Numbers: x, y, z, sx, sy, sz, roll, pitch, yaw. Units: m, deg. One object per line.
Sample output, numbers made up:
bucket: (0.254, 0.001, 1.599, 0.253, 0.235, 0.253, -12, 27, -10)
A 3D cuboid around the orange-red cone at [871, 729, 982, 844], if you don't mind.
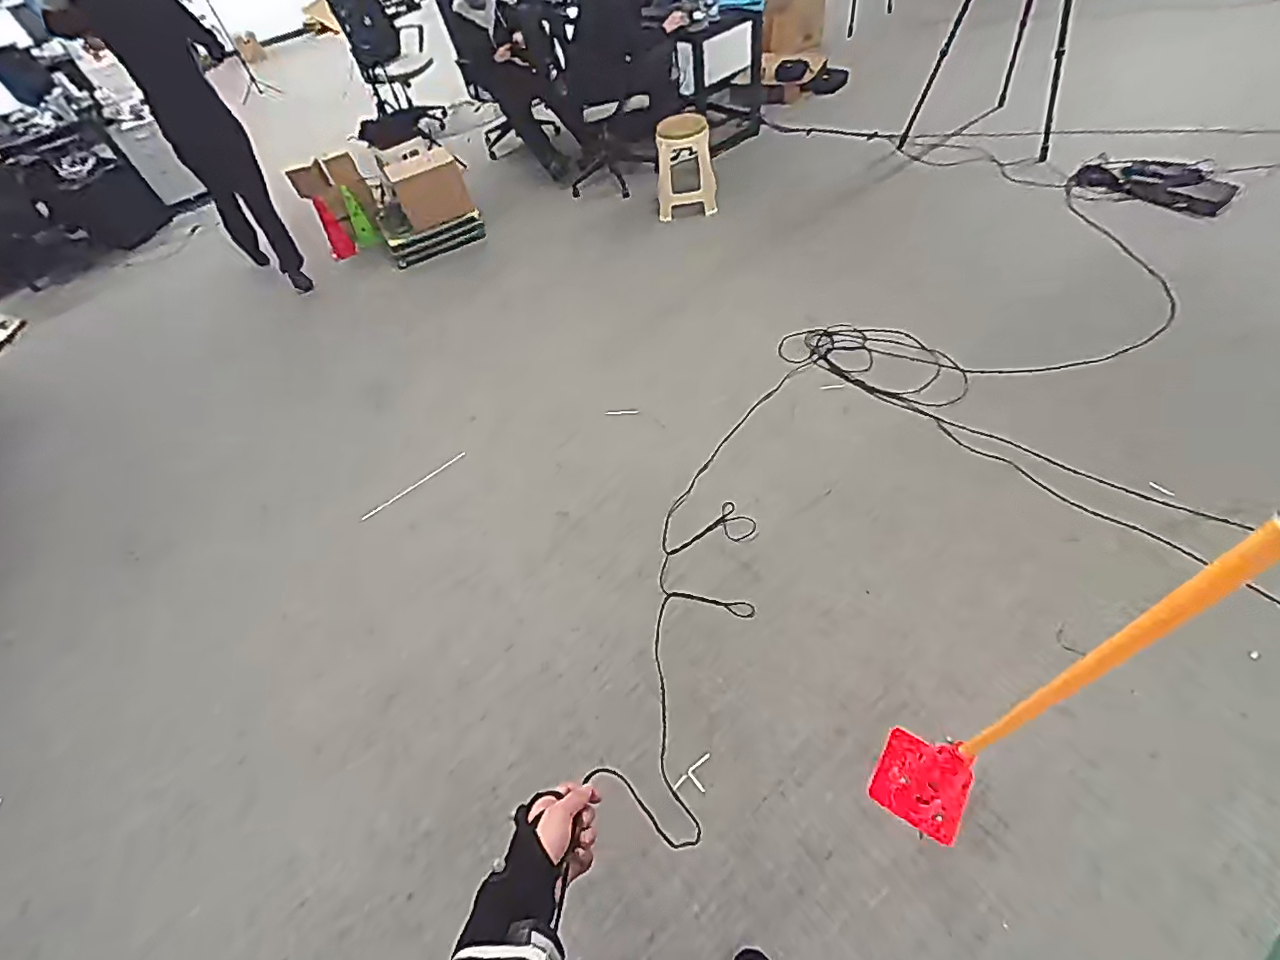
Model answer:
orange-red cone: (0.674, 0.641, 1.201, 0.198, 0.360, 0.199, 26, 60, 27)
